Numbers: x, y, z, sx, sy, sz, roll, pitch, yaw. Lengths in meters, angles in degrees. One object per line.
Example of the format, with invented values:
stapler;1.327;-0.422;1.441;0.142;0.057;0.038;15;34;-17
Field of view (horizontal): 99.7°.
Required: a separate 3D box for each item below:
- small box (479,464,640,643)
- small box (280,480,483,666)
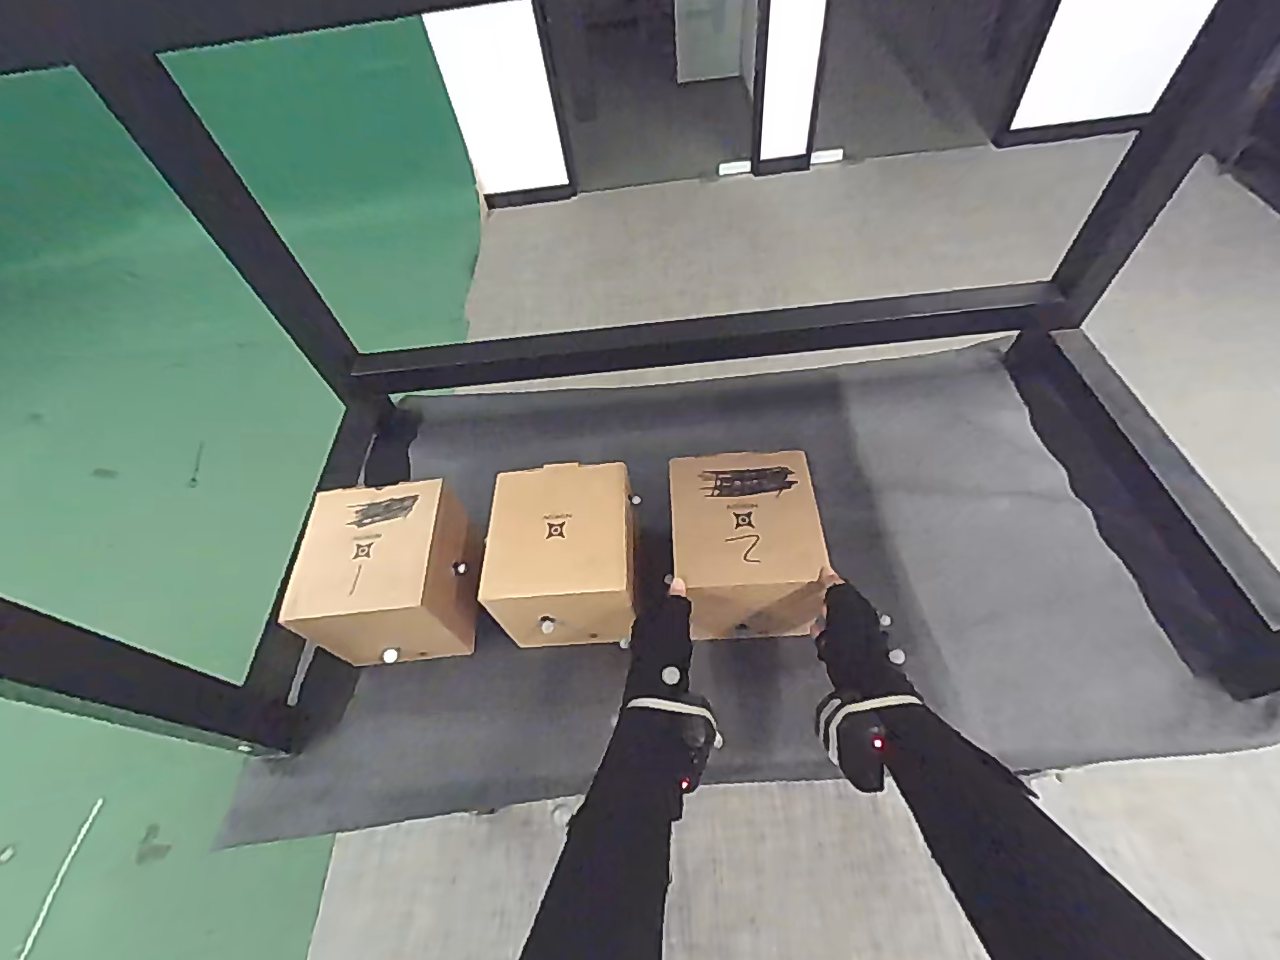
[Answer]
small box;-0.090;0.102;0.697;0.168;0.176;0.179;-4;53;4
small box;-0.315;0.125;0.707;0.168;0.176;0.179;-7;54;3
